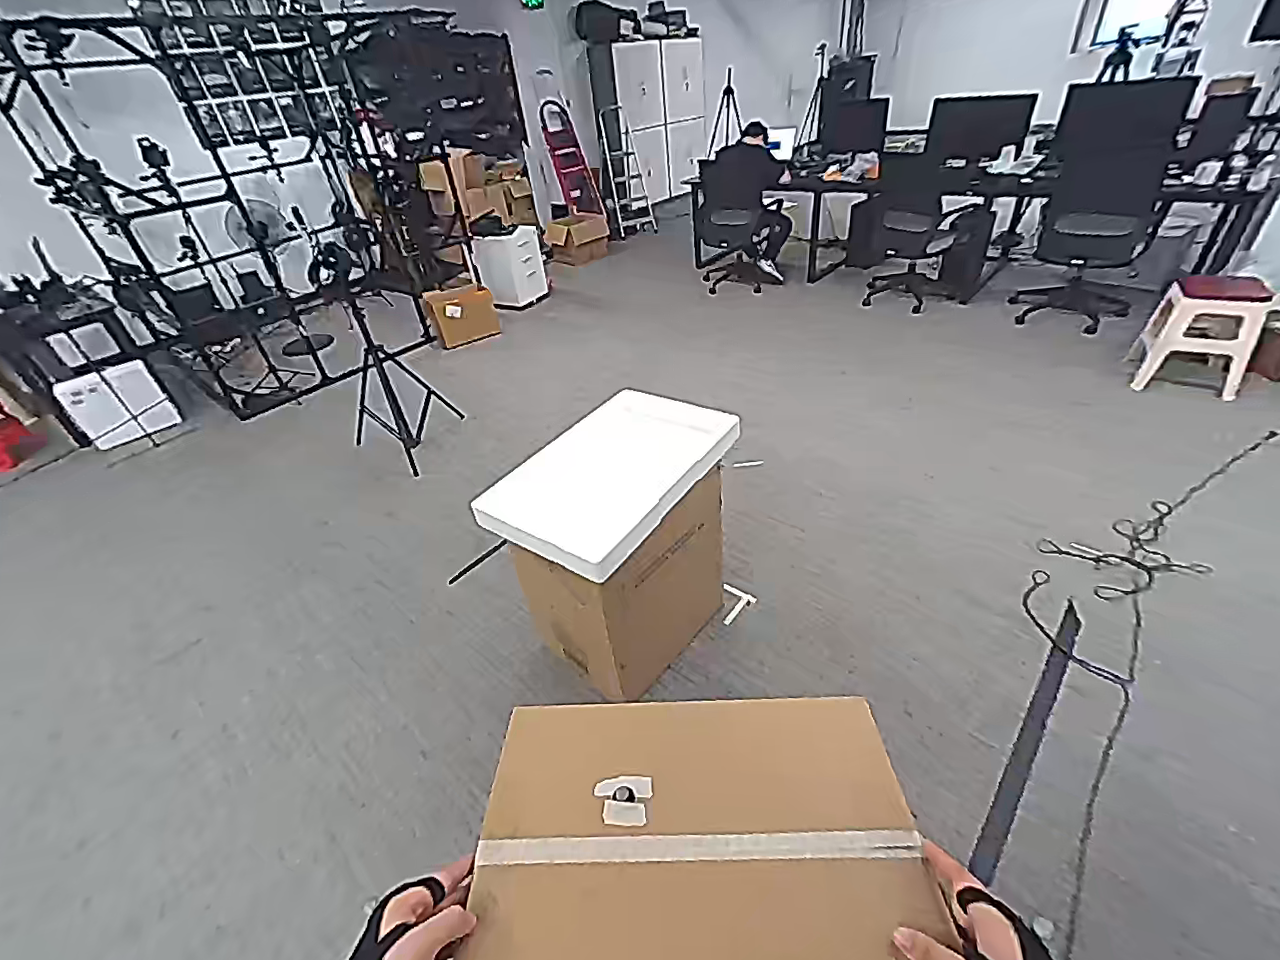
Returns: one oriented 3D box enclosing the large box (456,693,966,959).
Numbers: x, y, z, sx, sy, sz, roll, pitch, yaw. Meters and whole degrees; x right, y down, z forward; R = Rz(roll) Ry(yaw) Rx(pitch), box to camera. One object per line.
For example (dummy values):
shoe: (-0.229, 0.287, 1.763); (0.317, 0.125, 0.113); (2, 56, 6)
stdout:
large box: (0.065, 0.462, 0.563); (0.408, 0.320, 0.320); (-5, 30, 4)
